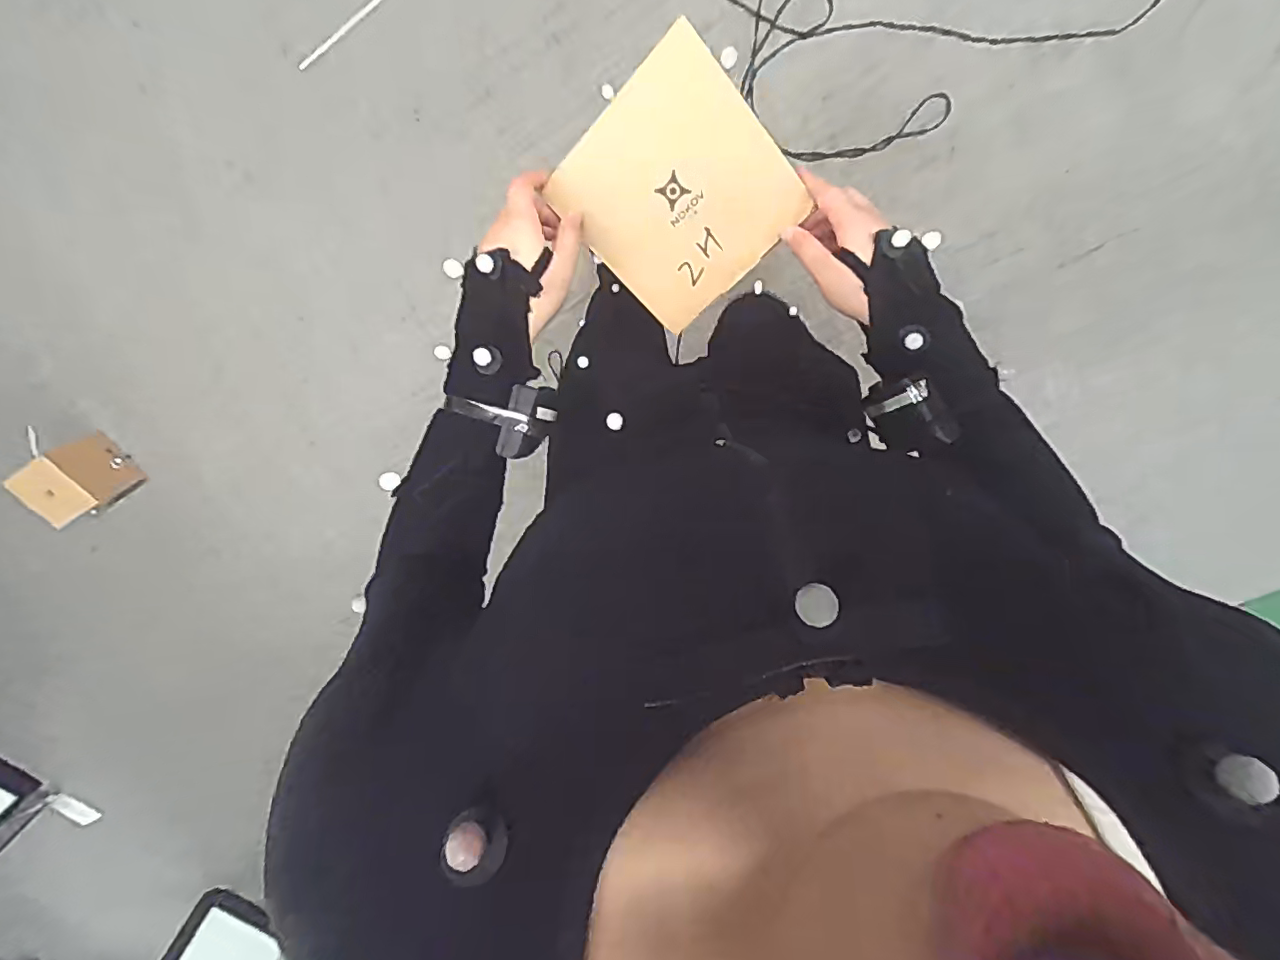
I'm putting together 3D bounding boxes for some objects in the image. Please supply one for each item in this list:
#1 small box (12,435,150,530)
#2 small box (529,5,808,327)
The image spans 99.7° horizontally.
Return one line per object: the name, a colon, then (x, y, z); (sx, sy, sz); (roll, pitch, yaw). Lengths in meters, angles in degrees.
small box: (-1.545, 0.003, 1.508); (0.179, 0.176, 0.168); (-27, 115, 13)
small box: (0.026, -0.285, 0.511); (0.168, 0.176, 0.179); (-37, 117, 26)
